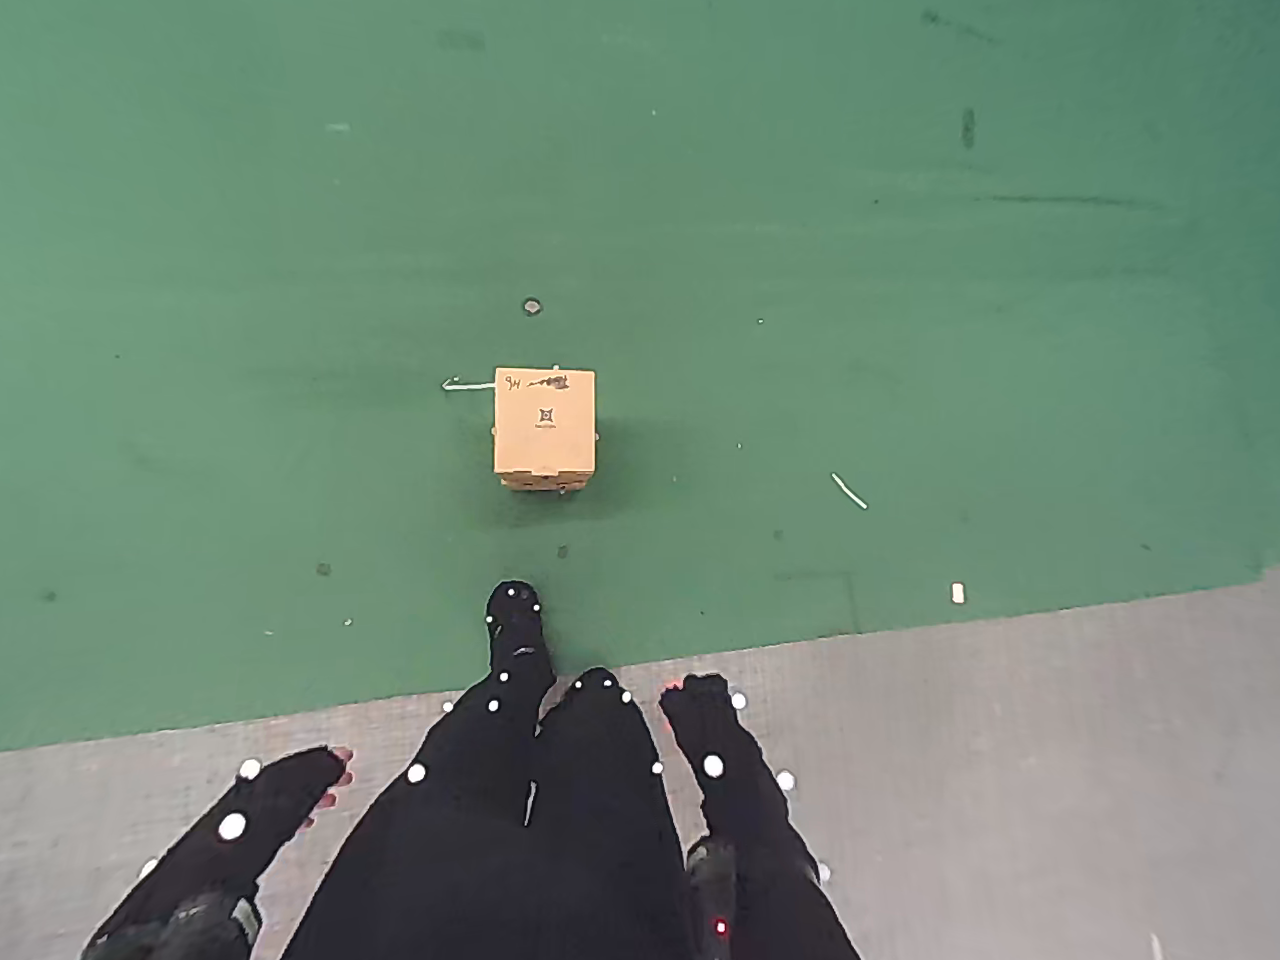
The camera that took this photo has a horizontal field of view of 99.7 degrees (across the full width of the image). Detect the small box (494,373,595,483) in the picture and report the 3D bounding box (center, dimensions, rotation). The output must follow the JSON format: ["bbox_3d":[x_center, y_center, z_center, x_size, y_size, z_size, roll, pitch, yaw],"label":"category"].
[{"bbox_3d":[-0.169,-0.084,0.974,0.168,0.176,0.179,1,87,-10],"label":"small box"}]

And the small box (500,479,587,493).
[{"bbox_3d":[-0.195,-0.063,1.116,0.168,0.176,0.179,2,85,-11],"label":"small box"}]
